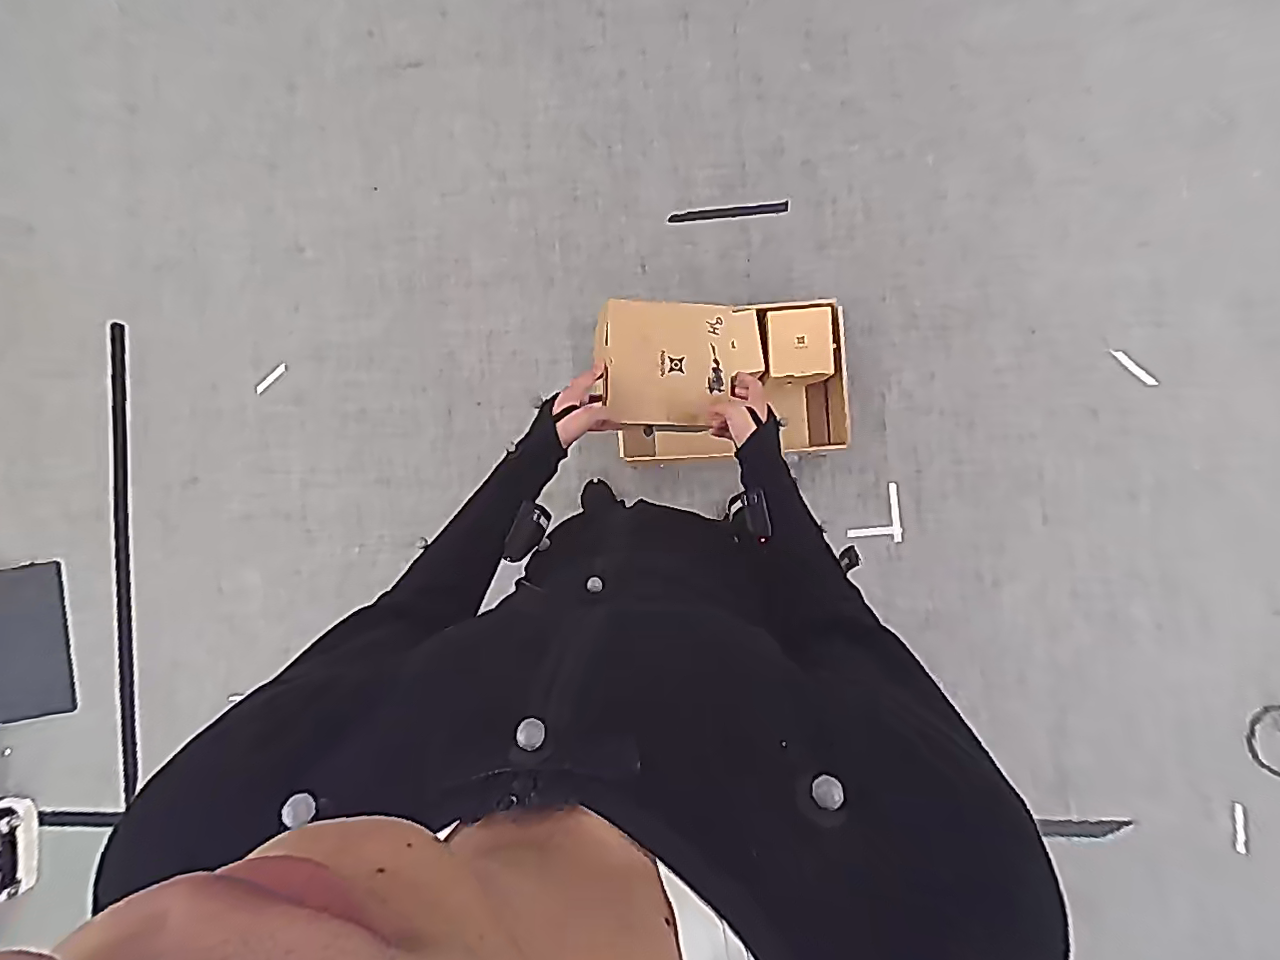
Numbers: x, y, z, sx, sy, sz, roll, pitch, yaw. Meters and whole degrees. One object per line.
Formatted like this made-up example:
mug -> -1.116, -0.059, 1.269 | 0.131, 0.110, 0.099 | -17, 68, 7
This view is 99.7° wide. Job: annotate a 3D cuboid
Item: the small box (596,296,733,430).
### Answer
small box -> 0.027, -0.161, 0.796 | 0.179, 0.176, 0.168 | 1, 93, -9
